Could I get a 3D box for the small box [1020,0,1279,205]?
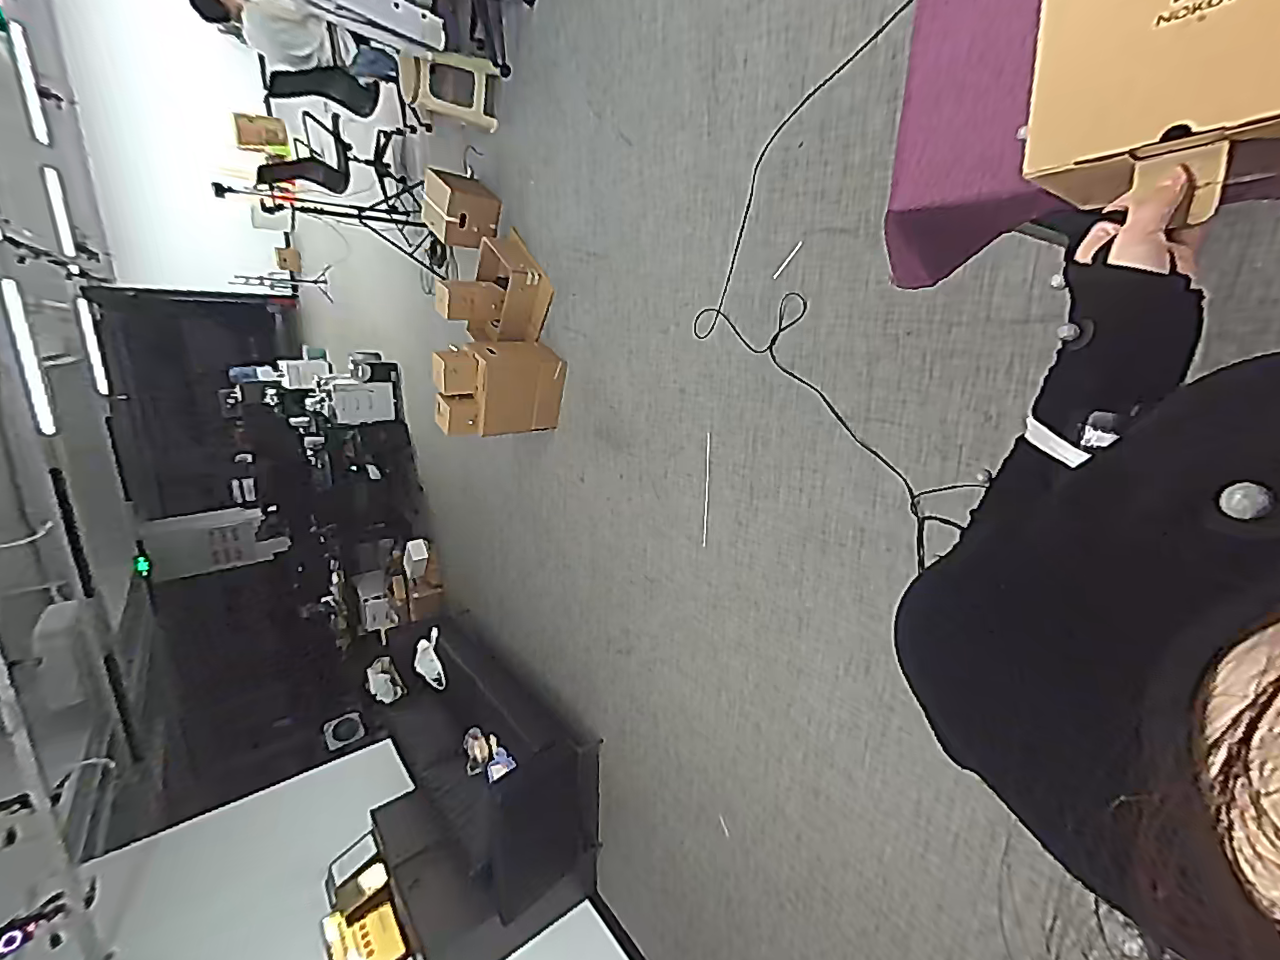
[{"bbox_3d":[0.405,-0.320,0.390,0.168,0.176,0.179,13,111,48],"label":"small box"}]
